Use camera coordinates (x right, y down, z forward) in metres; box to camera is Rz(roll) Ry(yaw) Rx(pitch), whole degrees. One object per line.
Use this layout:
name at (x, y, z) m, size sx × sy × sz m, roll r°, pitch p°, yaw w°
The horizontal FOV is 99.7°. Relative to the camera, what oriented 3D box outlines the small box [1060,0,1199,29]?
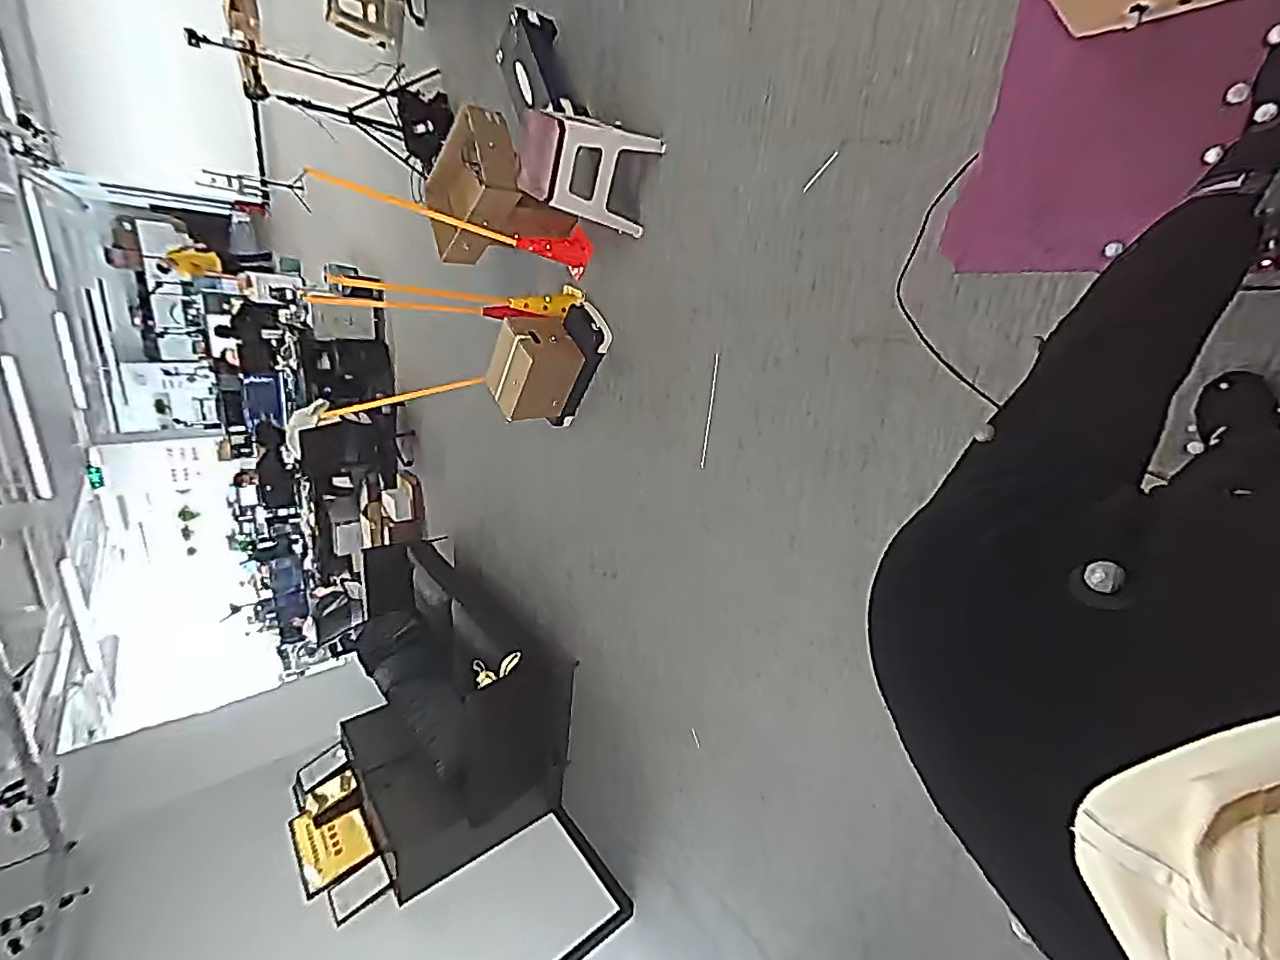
small box at (0.543, -0.617, 0.553) m, size 0.168 × 0.176 × 0.179 m, roll 23°, pitch 116°, yaw 46°
